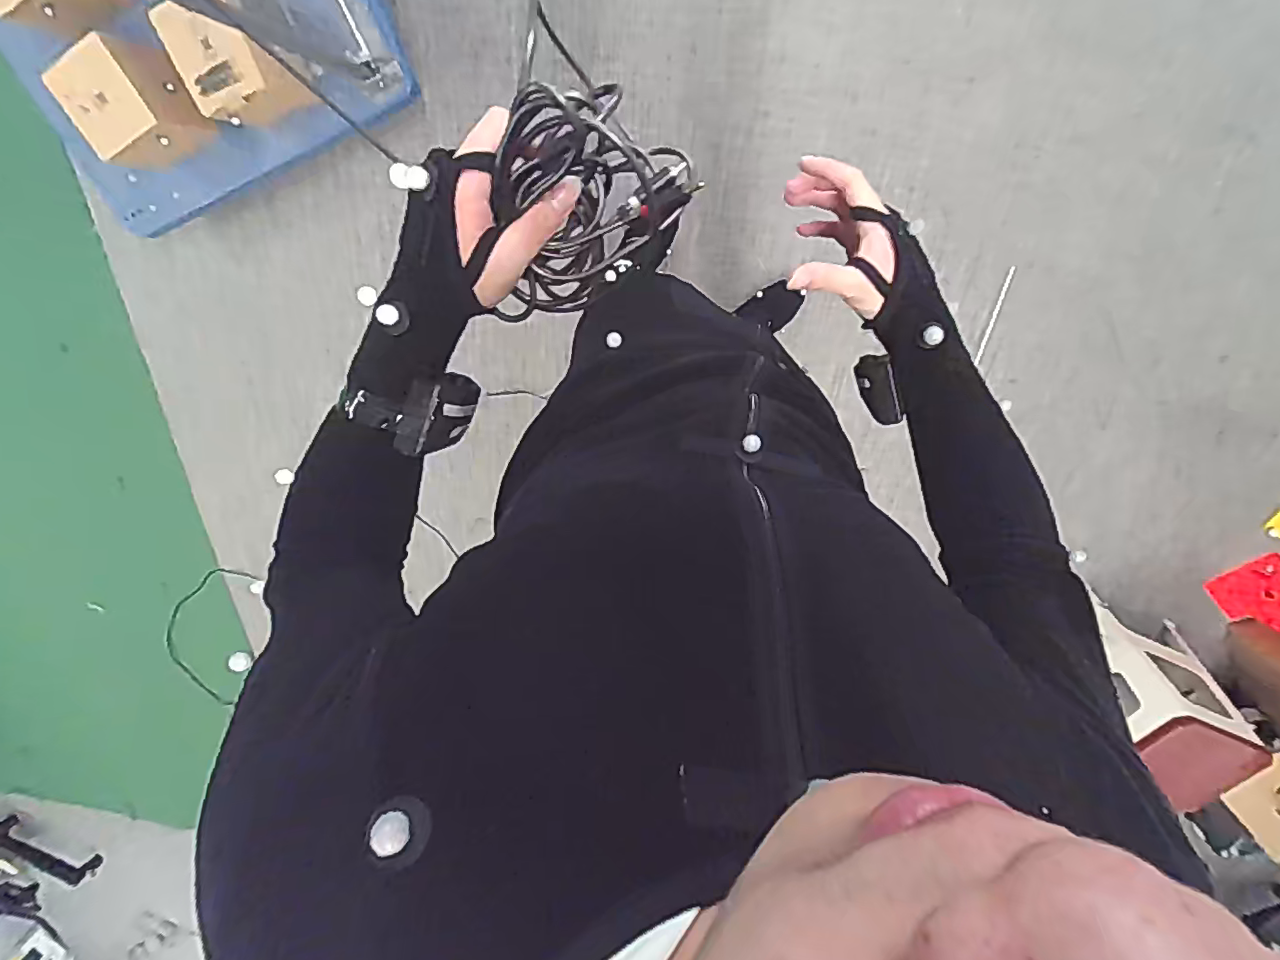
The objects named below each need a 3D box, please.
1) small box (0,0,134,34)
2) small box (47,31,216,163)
[{"bbox_3d":[-1.162,-1.019,1.054,0.179,0.176,0.168,-17,115,15],"label":"small box"},{"bbox_3d":[-1.064,-0.804,1.155,0.179,0.176,0.168,-19,113,16],"label":"small box"}]
